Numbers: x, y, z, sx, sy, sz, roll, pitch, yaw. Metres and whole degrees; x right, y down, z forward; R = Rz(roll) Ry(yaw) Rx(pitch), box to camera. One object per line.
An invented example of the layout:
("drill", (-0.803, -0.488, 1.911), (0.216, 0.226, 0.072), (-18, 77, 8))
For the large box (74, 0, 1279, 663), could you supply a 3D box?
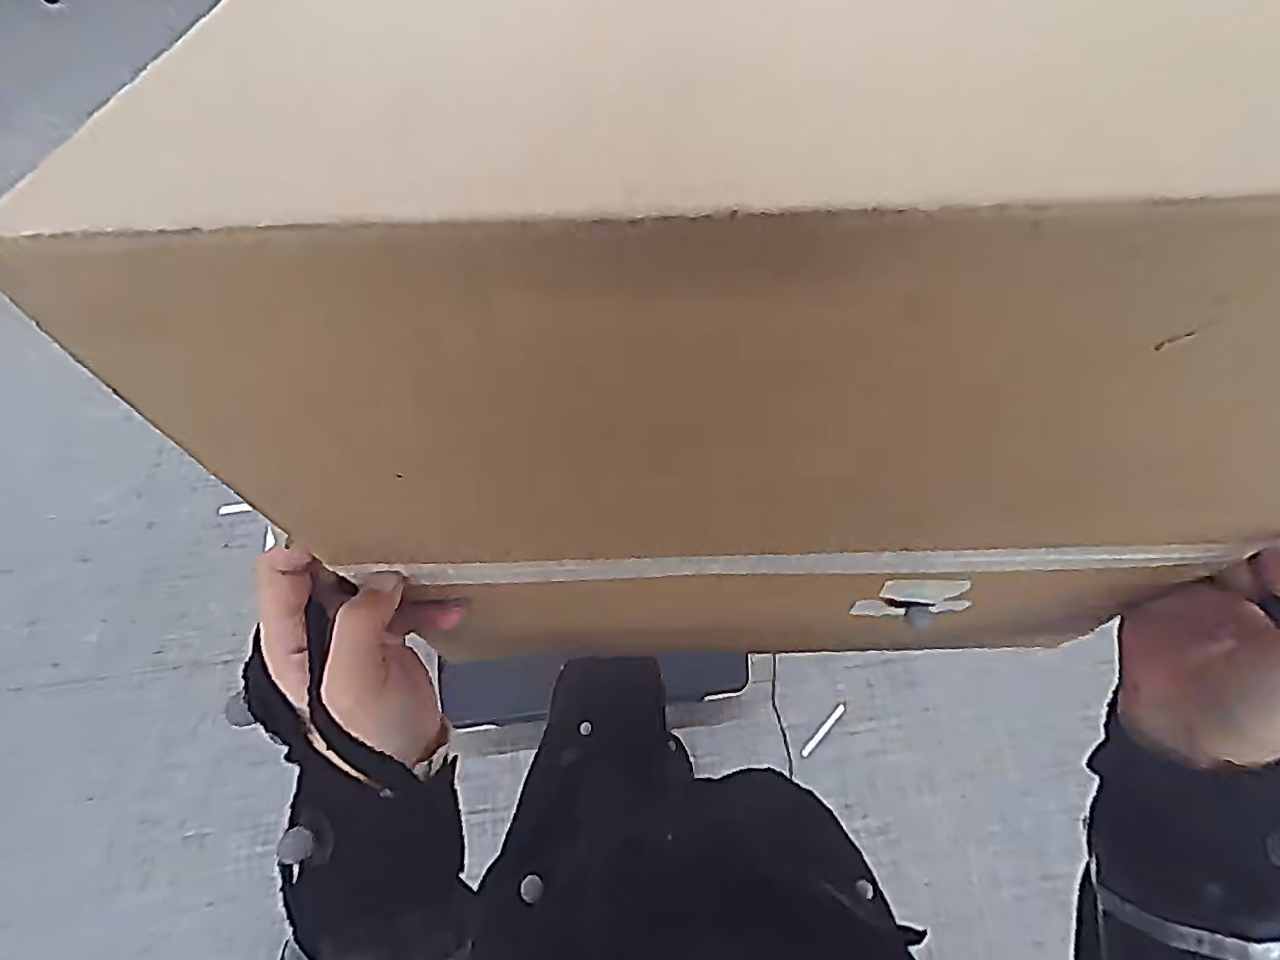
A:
("large box", (0.061, -0.093, 0.327), (0.408, 0.320, 0.320), (-3, 58, 0))
